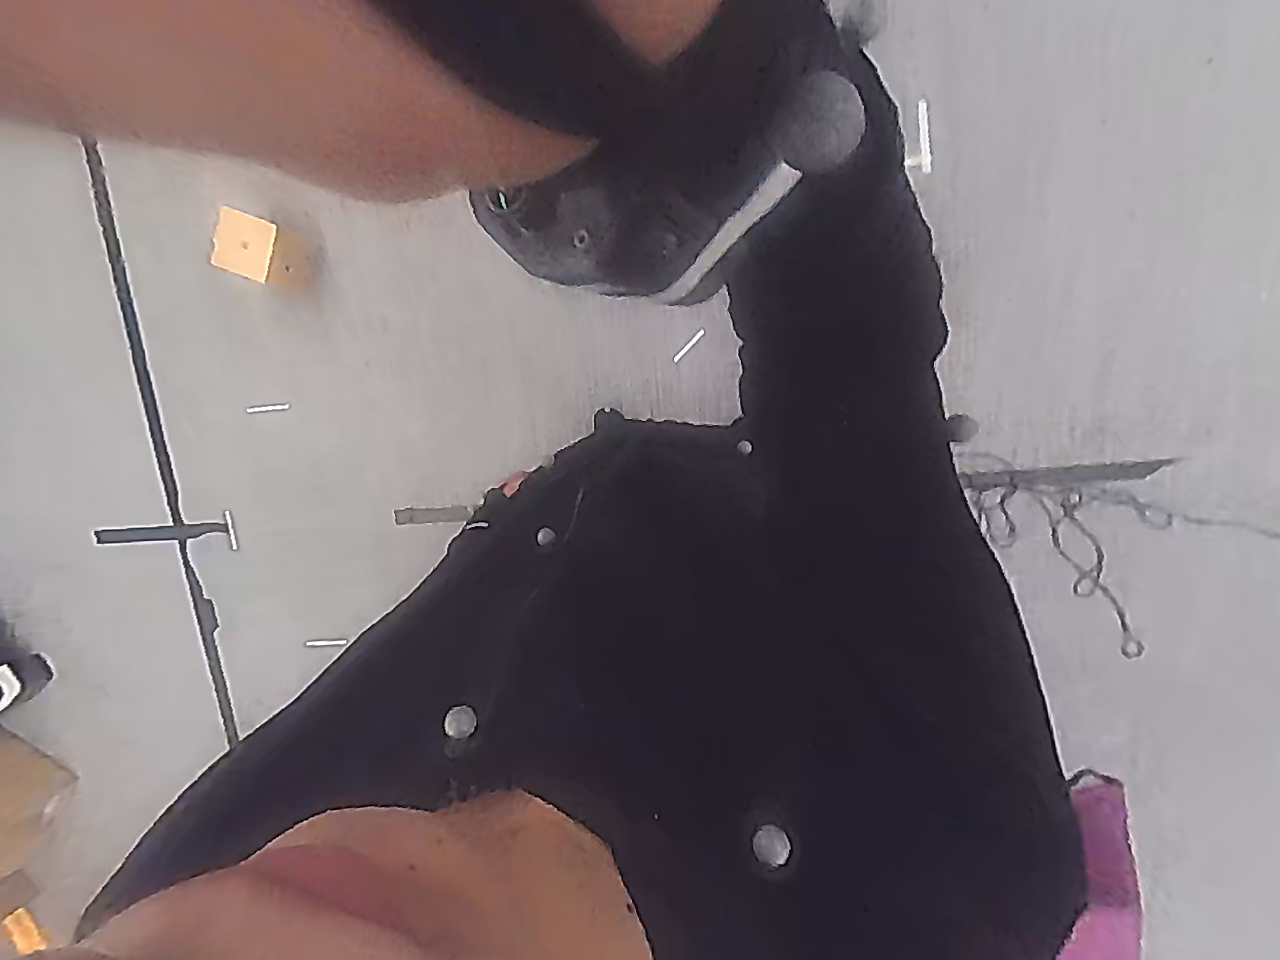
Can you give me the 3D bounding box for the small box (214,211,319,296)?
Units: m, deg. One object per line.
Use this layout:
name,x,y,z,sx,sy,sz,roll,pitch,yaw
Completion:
small box,-1.080,-0.652,1.577,0.179,0.176,0.168,21,100,4
